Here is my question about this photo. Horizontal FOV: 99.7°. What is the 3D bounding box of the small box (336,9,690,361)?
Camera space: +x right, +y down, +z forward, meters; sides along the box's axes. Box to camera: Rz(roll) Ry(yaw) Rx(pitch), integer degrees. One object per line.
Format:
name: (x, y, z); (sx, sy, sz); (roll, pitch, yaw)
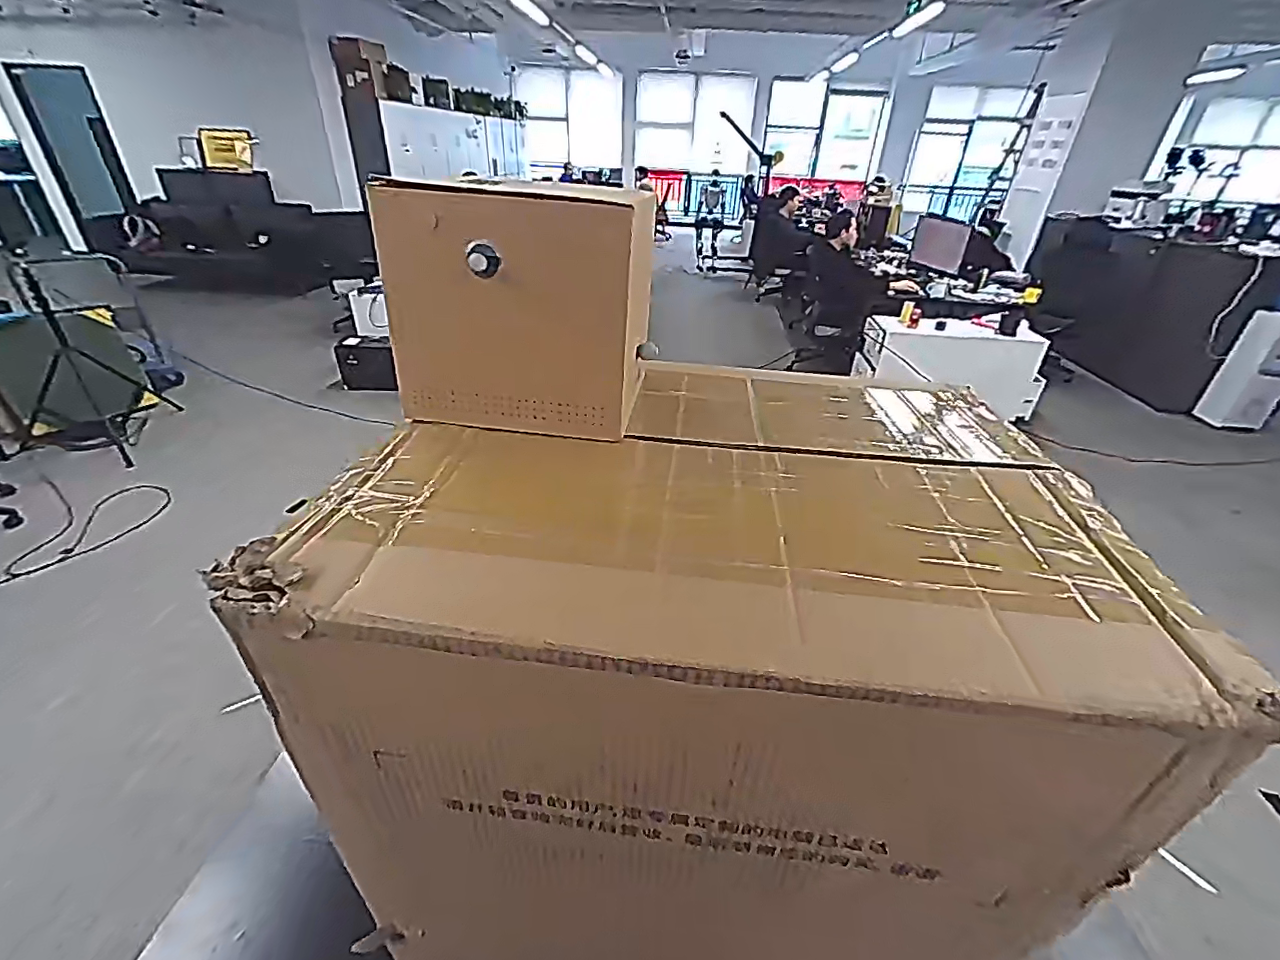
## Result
small box: (-0.063, -0.188, 0.369); (0.179, 0.176, 0.168); (7, 30, 3)
